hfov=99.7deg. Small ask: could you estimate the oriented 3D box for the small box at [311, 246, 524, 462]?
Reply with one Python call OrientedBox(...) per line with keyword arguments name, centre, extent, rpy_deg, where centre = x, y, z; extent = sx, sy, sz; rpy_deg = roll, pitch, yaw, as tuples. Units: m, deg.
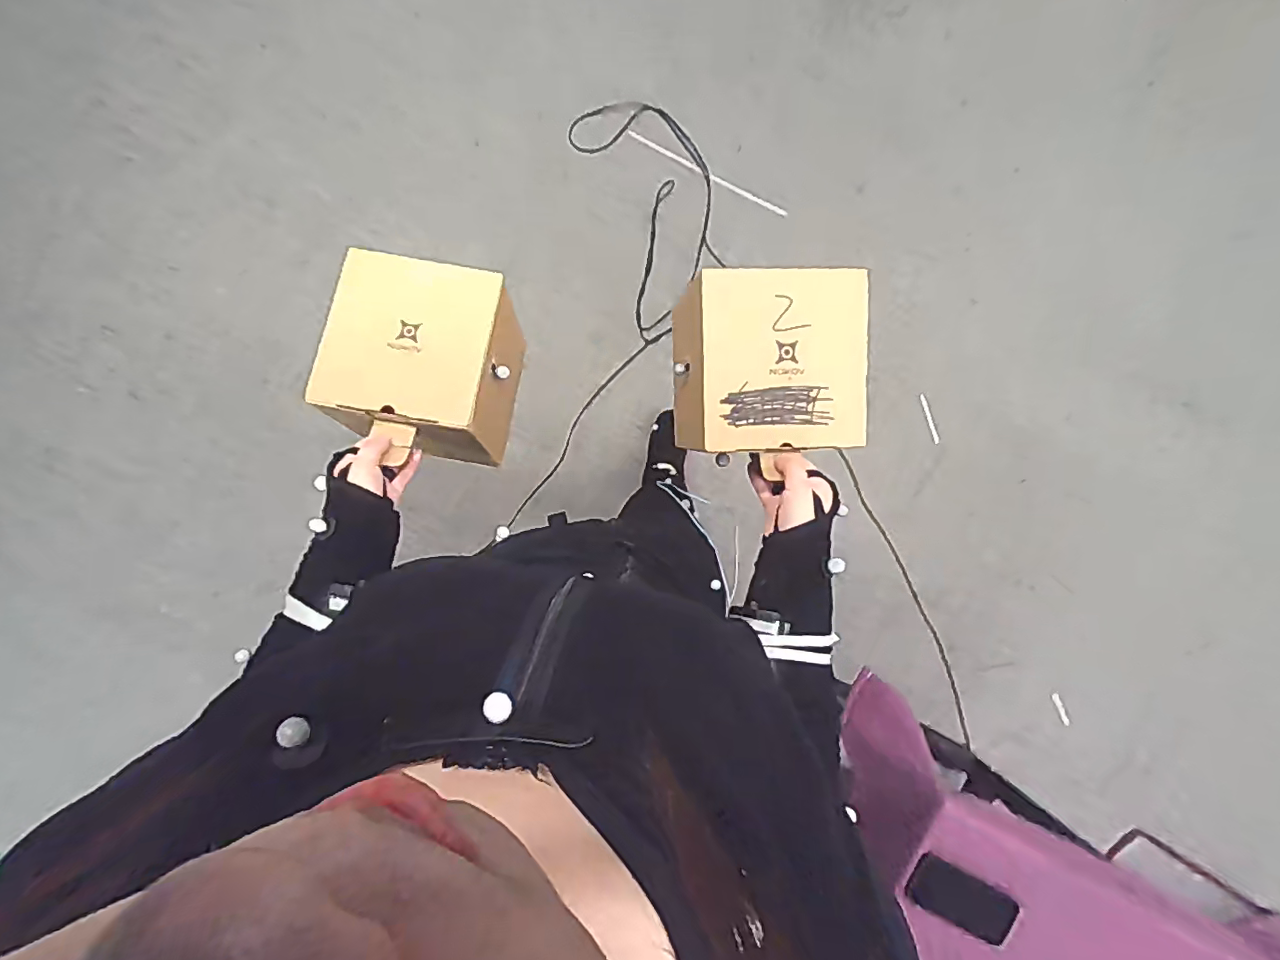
OrientedBox(name="small box", centre=(-0.238, -0.133, 0.631), extent=(0.168, 0.176, 0.179), rpy_deg=(9, 79, -2))
